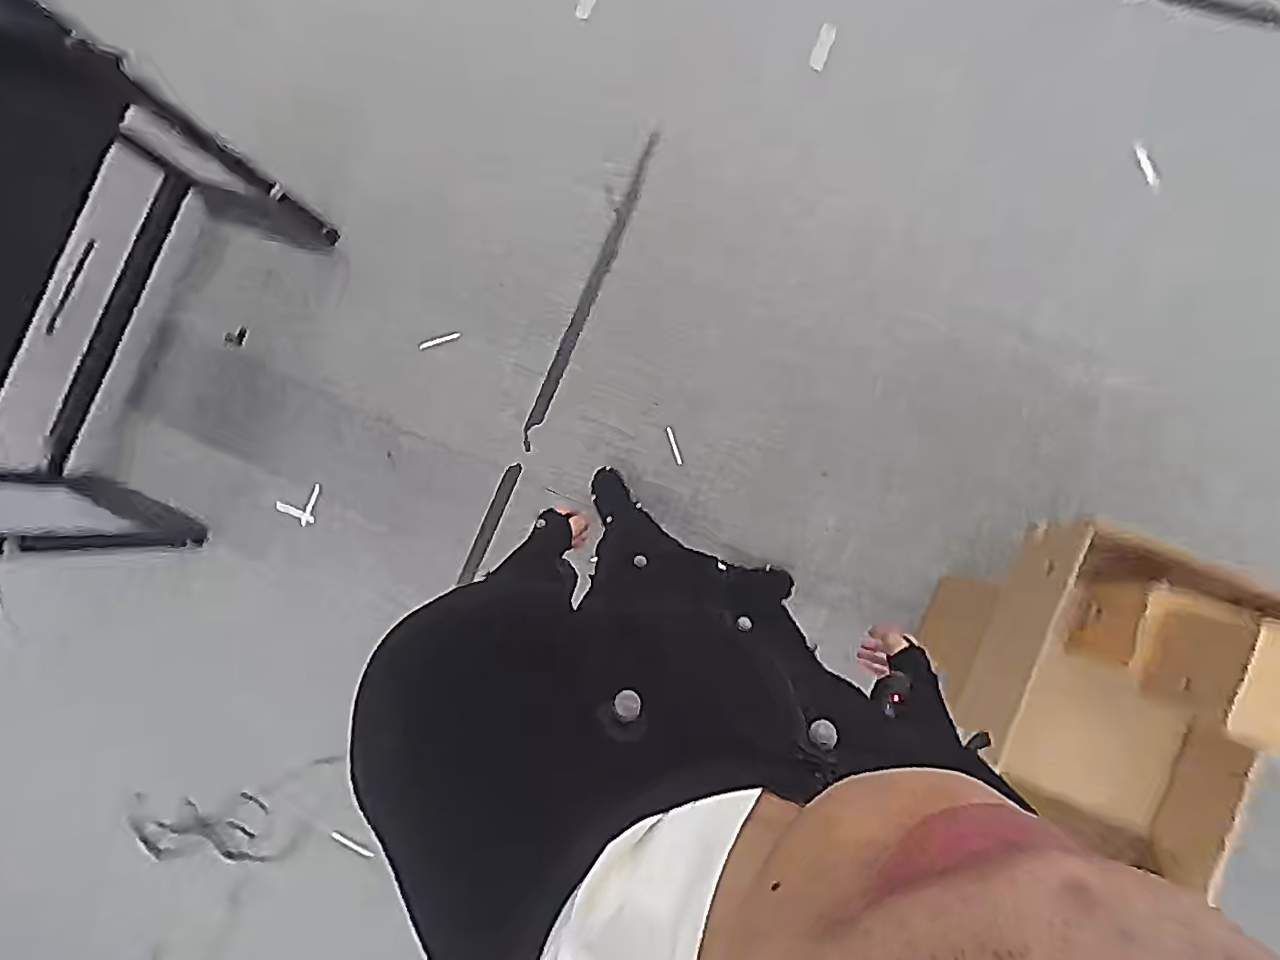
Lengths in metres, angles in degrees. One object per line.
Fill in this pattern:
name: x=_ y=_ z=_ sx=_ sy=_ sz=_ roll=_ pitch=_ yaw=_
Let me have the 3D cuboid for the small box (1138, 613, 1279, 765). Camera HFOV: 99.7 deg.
small box: x=0.967 y=0.336 z=0.869 sx=0.168 sy=0.176 sz=0.179 roll=23 pitch=88 yaw=7

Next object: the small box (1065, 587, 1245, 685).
small box: x=0.977 y=0.313 z=1.035 sx=0.179 sy=0.176 sz=0.168 roll=18 pitch=87 yaw=8
